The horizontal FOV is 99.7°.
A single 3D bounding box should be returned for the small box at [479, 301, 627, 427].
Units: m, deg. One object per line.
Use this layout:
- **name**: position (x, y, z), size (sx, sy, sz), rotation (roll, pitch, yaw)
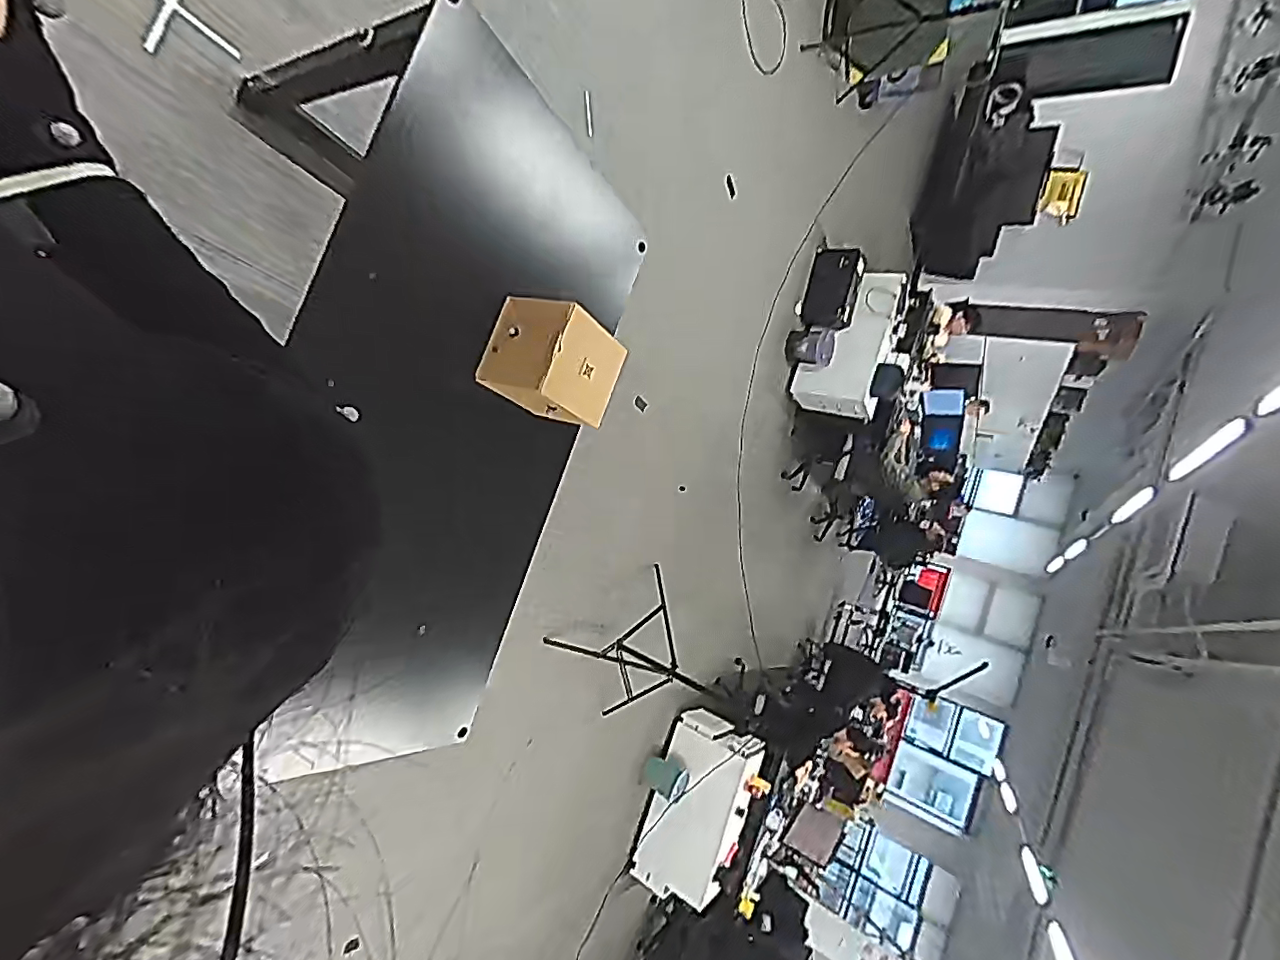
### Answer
- **small box**: position (-0.159, -0.216, 0.996), size (0.179, 0.176, 0.168), rotation (28, 80, -56)
